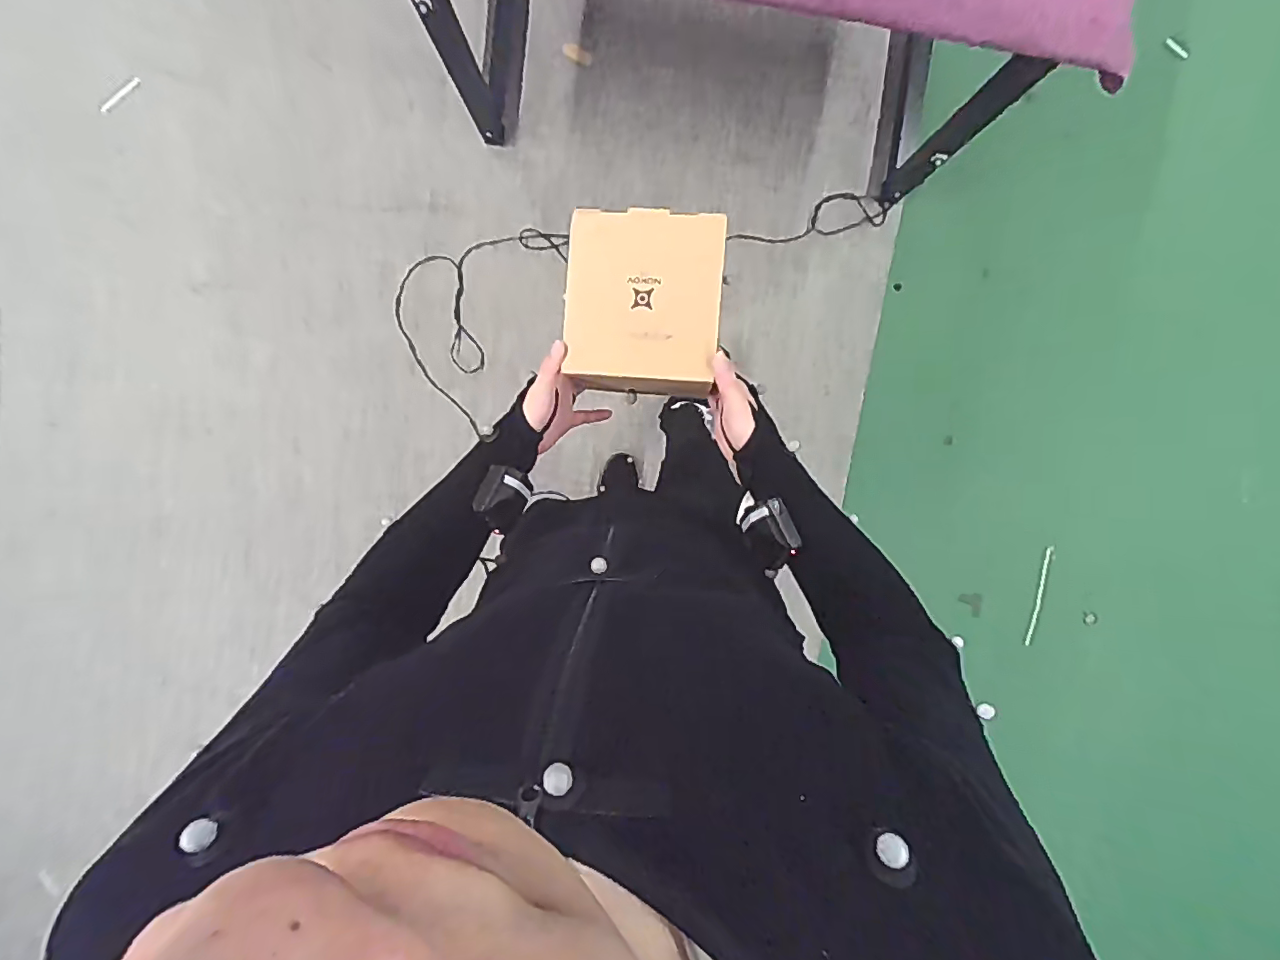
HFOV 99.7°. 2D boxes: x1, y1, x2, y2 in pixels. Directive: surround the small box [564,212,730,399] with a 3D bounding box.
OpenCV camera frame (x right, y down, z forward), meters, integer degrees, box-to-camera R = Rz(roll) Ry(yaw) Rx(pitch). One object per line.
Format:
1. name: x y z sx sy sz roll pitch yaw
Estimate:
1. small box: 0.011 -0.197 0.653 0.168 0.176 0.179 5 95 4
